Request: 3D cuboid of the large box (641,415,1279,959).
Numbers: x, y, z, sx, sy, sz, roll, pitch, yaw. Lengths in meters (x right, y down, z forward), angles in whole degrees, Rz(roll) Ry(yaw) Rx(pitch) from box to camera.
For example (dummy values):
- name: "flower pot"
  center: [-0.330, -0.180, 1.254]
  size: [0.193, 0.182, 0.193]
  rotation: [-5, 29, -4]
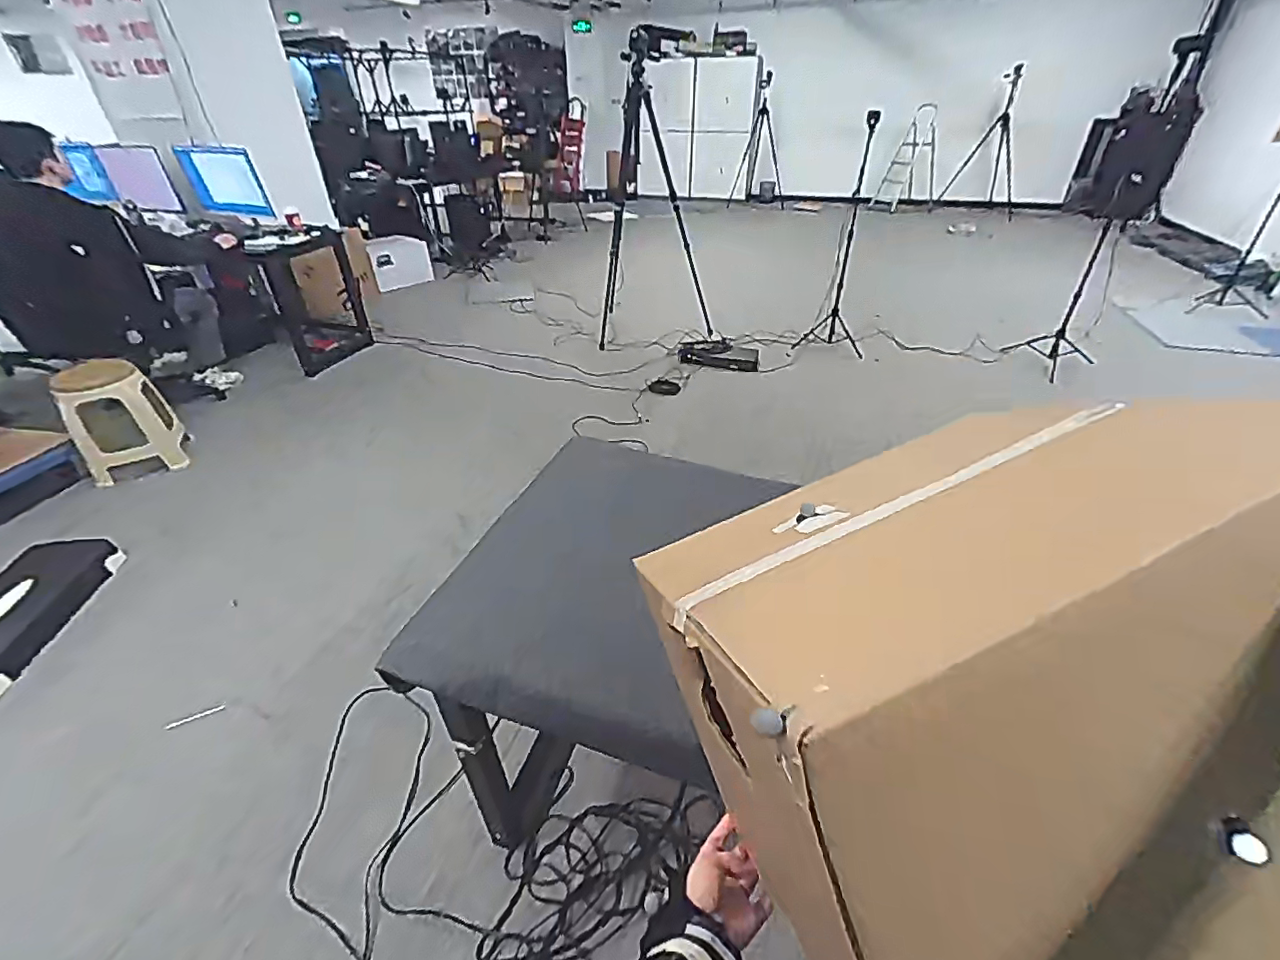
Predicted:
- name: "large box"
  center: [0.269, 0.166, 0.437]
  size: [0.408, 0.320, 0.320]
  rotation: [-24, 10, -11]
